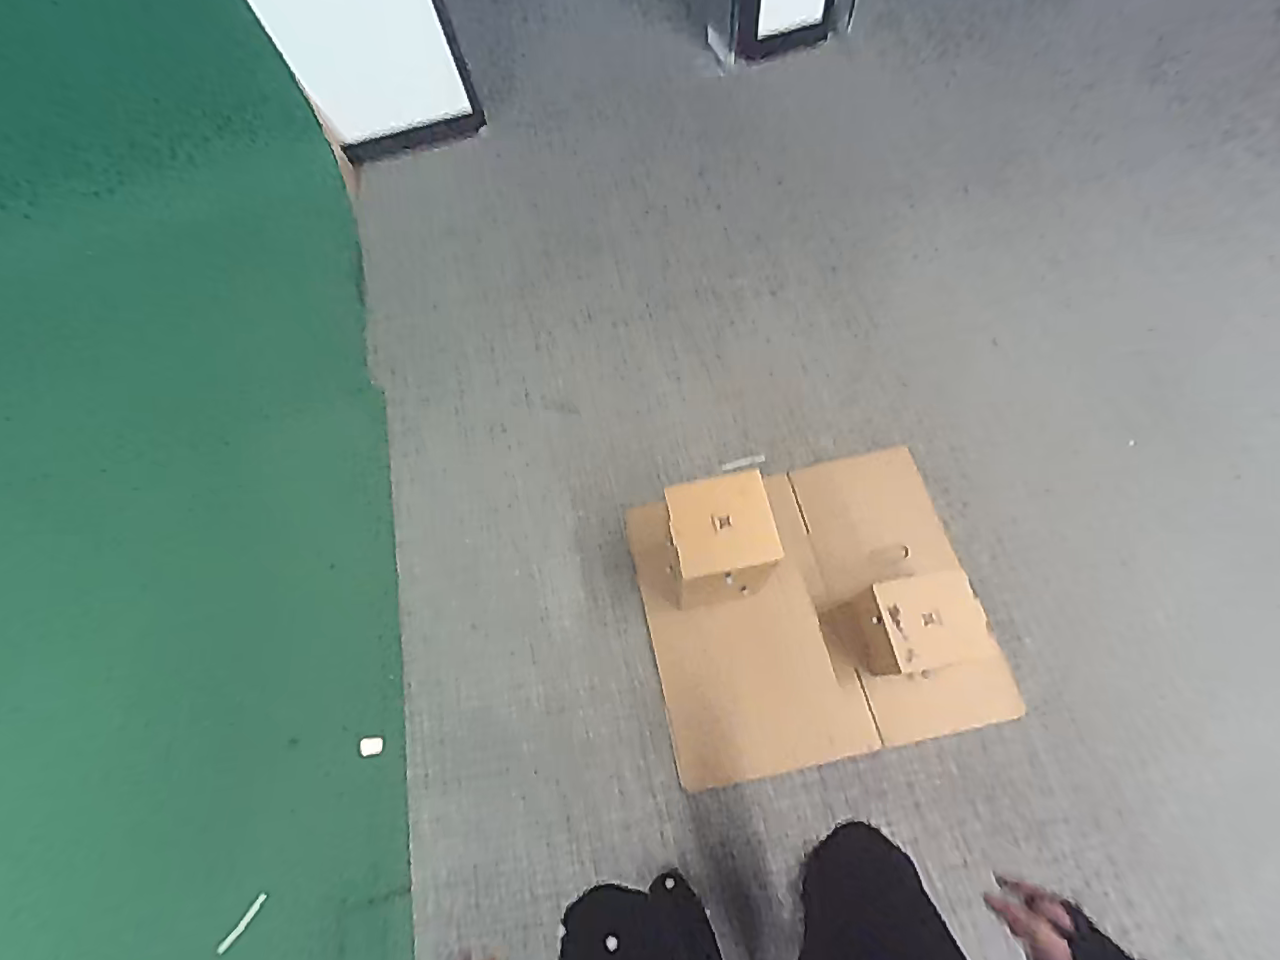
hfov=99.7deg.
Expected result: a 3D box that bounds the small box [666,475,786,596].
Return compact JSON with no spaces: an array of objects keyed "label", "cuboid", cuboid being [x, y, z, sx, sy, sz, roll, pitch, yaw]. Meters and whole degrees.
[{"label":"small box","cuboid":[0.150,0.108,0.996,0.179,0.176,0.168,-12,68,1]}]

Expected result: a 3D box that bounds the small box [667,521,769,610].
[{"label":"small box","cuboid":[0.158,0.169,1.145,0.179,0.176,0.168,-12,67,1]}]

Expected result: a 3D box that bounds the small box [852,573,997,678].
[{"label":"small box","cuboid":[0.545,0.290,1.062,0.179,0.176,0.168,-10,67,2]}]
